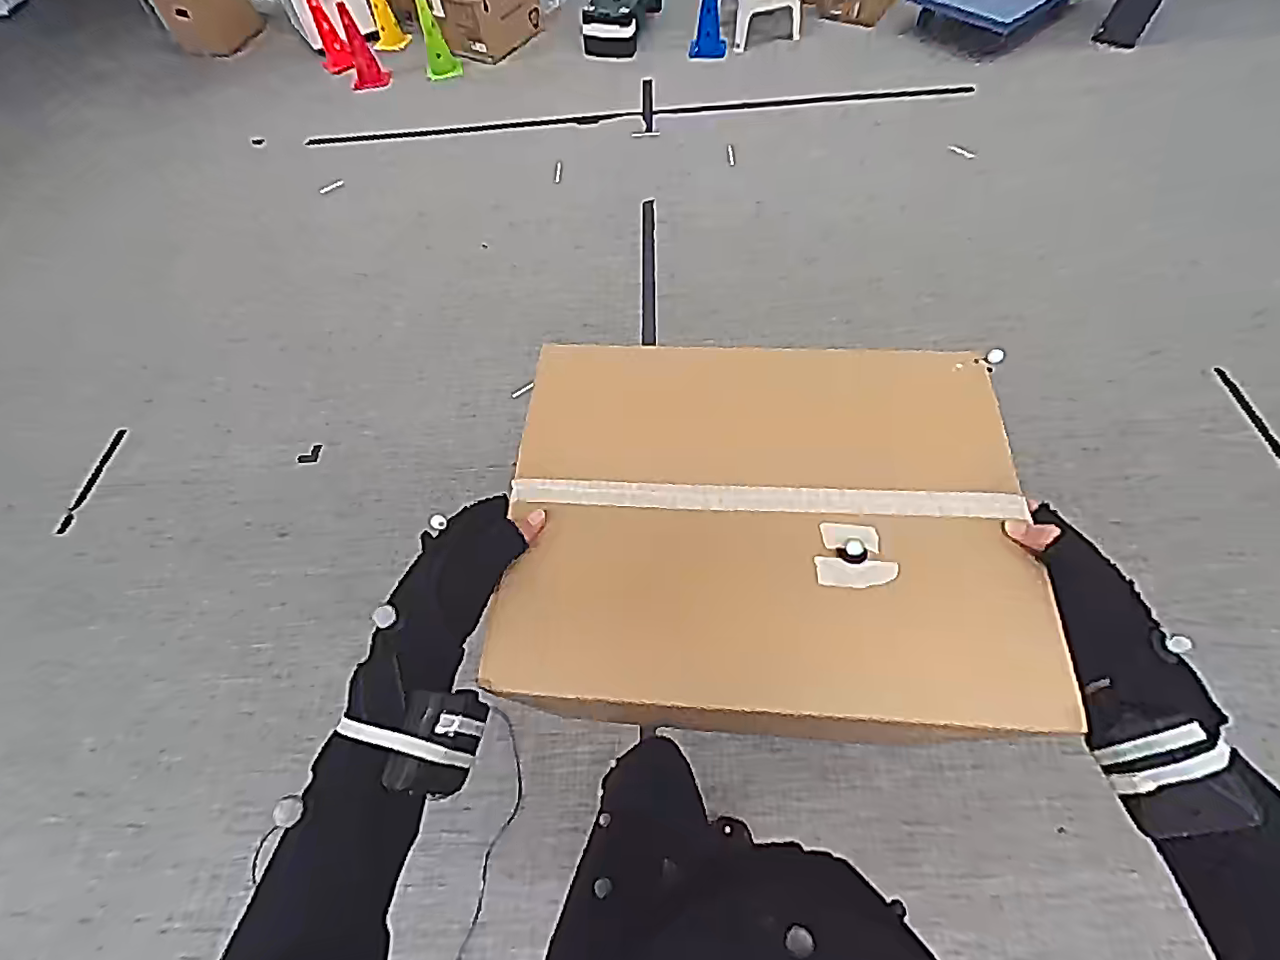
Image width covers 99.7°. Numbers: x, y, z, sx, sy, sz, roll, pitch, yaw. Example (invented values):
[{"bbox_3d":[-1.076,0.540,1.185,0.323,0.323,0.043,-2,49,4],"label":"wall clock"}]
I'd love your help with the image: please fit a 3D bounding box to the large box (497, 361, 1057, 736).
[{"bbox_3d":[0.105,0.090,0.583,0.408,0.320,0.320,2,63,5],"label":"large box"}]
